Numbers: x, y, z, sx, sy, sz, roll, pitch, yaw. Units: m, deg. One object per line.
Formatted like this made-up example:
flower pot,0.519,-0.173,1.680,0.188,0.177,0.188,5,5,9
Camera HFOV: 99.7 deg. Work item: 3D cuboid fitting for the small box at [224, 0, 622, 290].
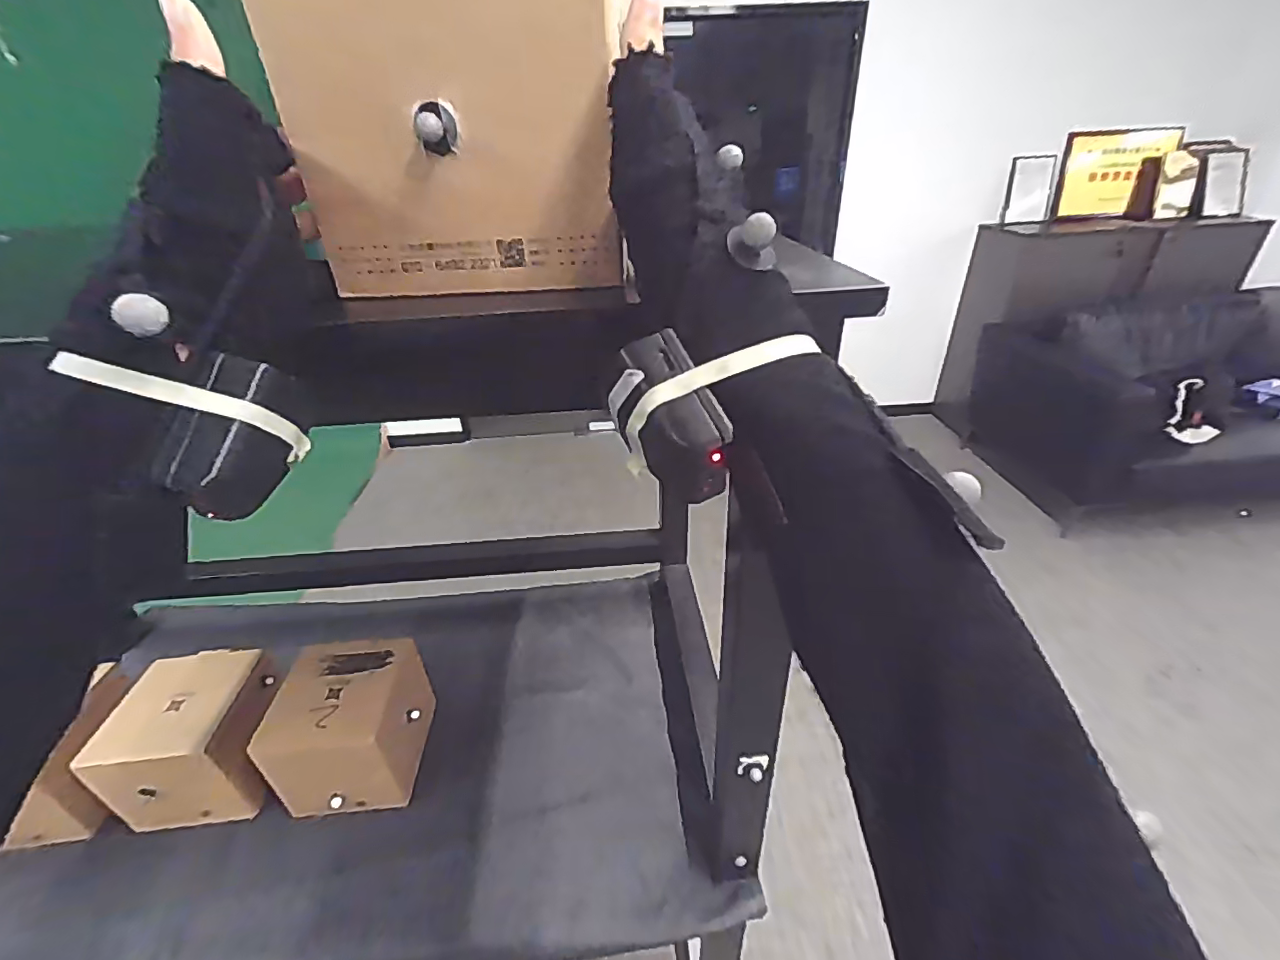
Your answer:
small box,-0.100,-0.219,0.337,0.168,0.176,0.179,-1,31,3

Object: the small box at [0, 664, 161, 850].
small box,-0.859,0.400,0.789,0.168,0.176,0.179,-6,32,-4
